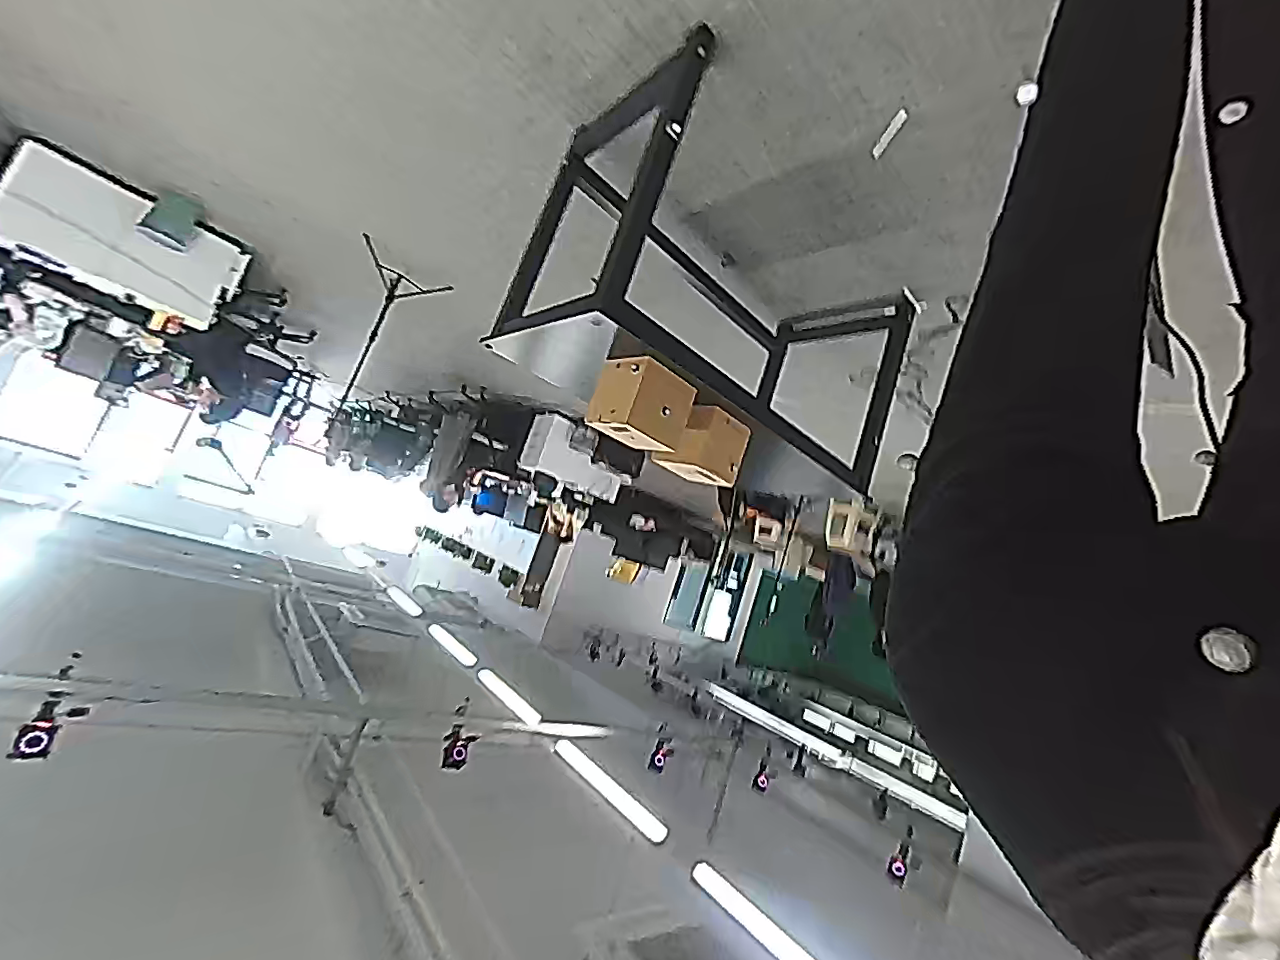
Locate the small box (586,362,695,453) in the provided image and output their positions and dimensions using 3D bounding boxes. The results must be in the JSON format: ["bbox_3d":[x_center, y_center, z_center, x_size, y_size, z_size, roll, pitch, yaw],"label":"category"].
[{"bbox_3d":[0.004,-0.177,1.307,0.179,0.176,0.168,25,170,-40],"label":"small box"}]
